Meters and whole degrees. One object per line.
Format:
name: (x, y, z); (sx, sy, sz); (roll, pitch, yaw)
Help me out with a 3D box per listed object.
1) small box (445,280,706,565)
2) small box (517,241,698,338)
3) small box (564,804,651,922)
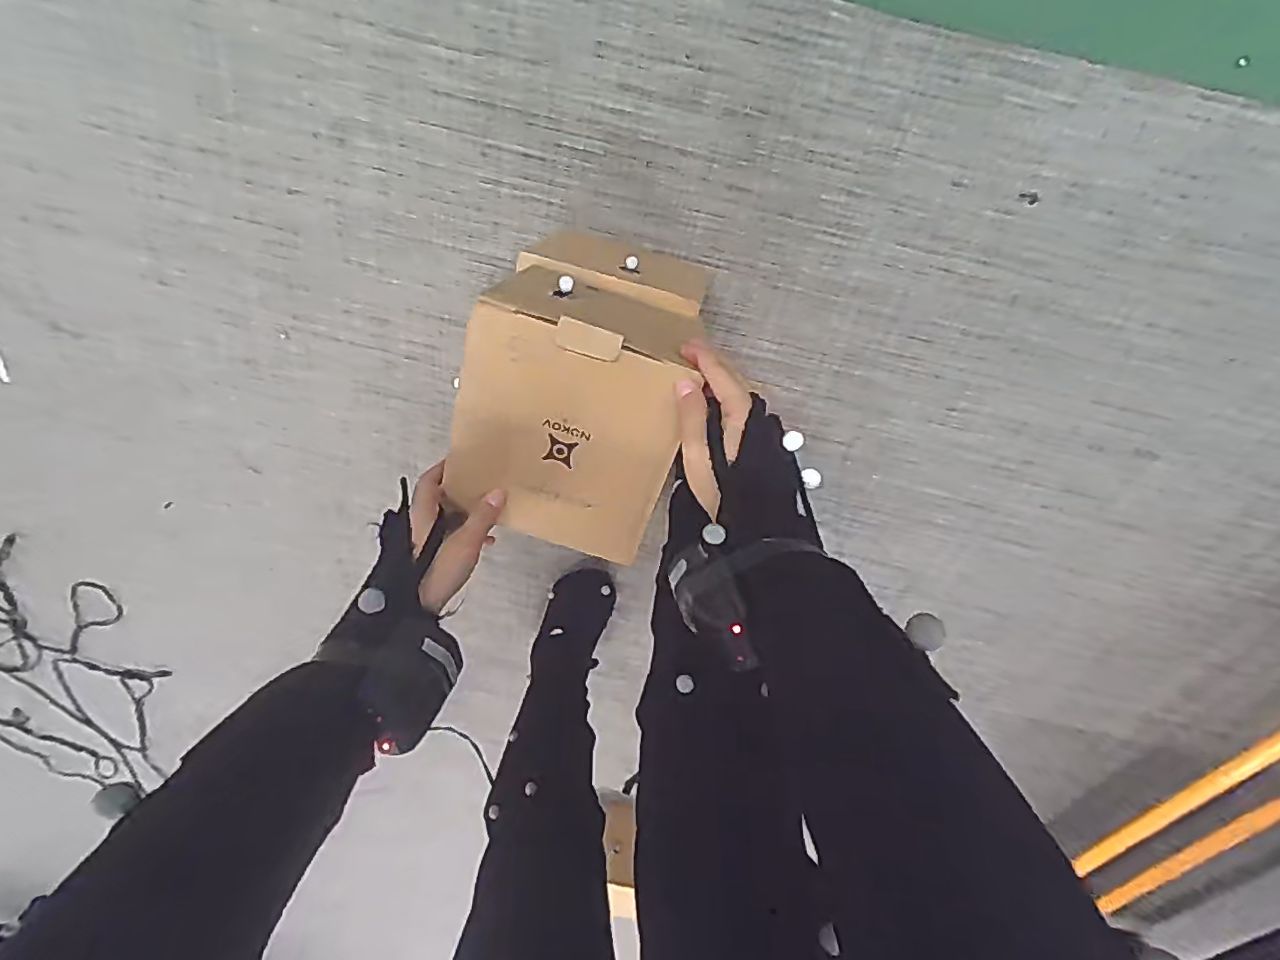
small box: (-0.050, -0.061, 0.477); (0.168, 0.176, 0.179); (17, 118, -3)
small box: (-0.038, -0.158, 0.614); (0.179, 0.176, 0.168); (16, 121, -1)
small box: (-0.073, 0.889, 1.262); (0.179, 0.176, 0.168); (9, 122, 2)
